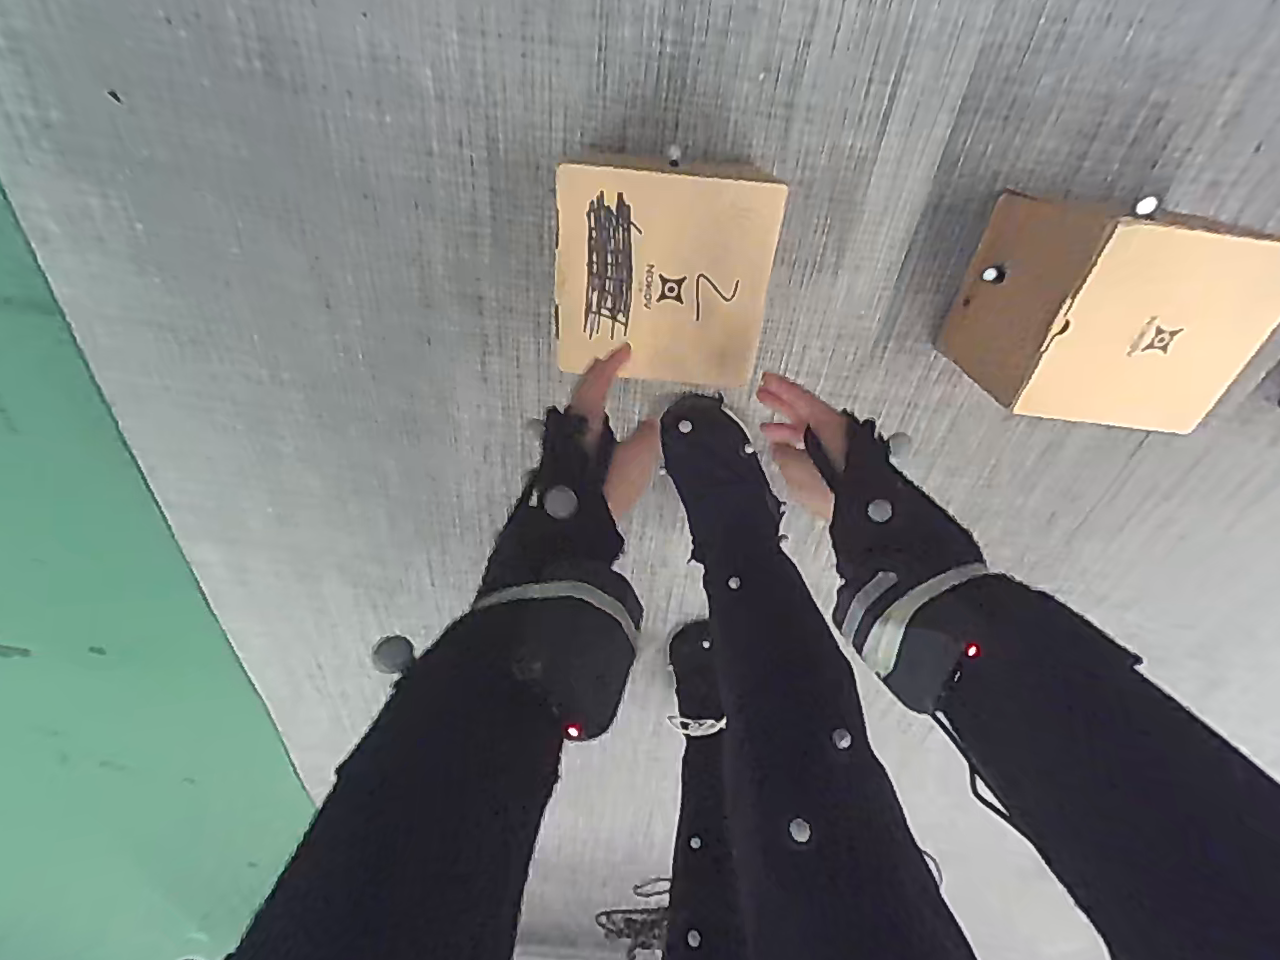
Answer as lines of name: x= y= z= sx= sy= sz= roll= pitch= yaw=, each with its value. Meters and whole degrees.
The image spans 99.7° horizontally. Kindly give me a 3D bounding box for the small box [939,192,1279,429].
small box: x=0.434 y=-0.169 z=0.521 sx=0.179 sy=0.176 sz=0.168 roll=7 pitch=125 yaw=-2
